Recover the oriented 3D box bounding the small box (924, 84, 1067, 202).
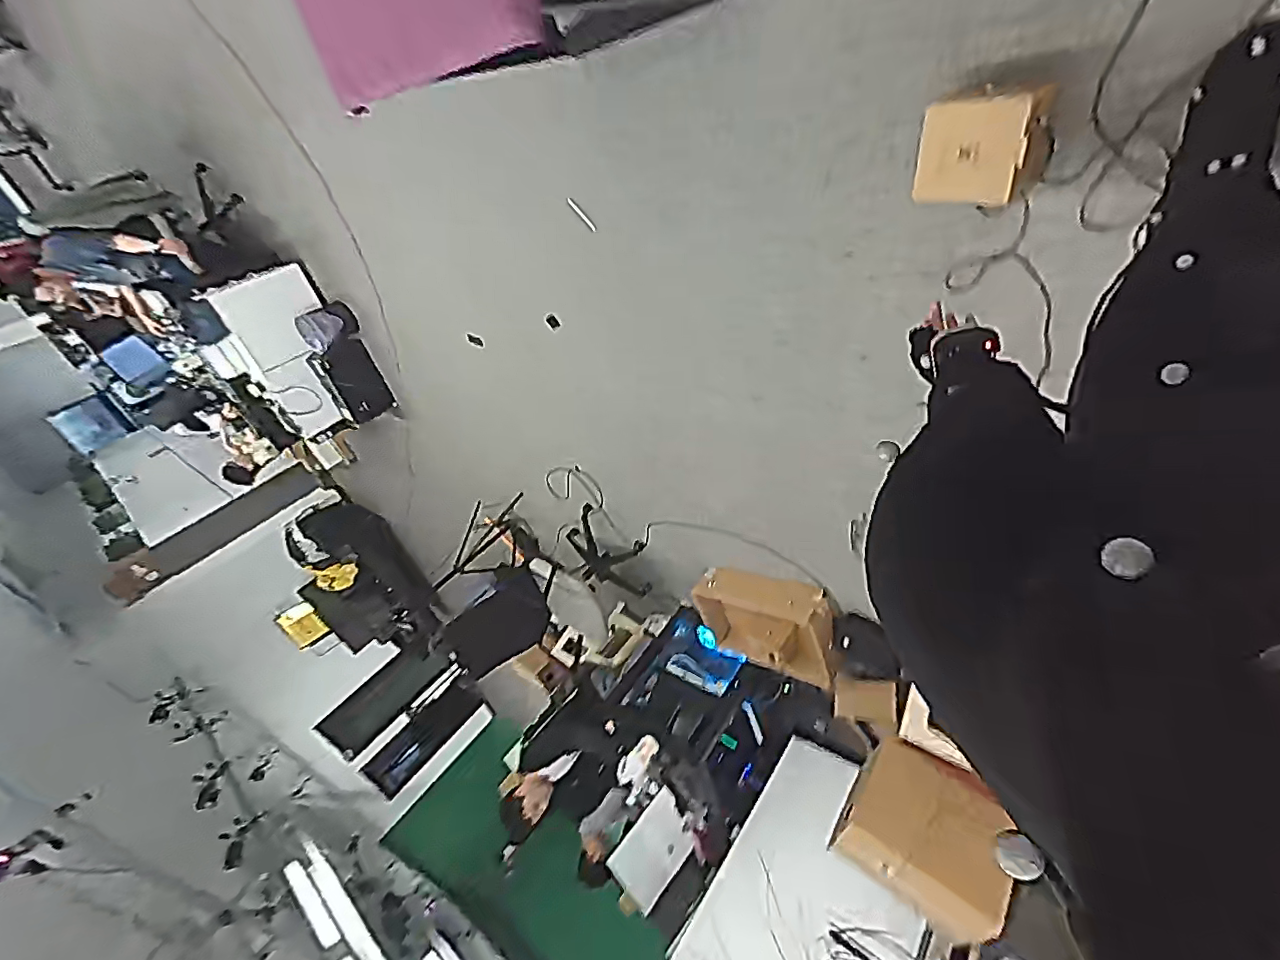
[{"bbox_3d":[0.683,-0.647,1.041,0.179,0.176,0.168,24,138,37],"label":"small box"}]
